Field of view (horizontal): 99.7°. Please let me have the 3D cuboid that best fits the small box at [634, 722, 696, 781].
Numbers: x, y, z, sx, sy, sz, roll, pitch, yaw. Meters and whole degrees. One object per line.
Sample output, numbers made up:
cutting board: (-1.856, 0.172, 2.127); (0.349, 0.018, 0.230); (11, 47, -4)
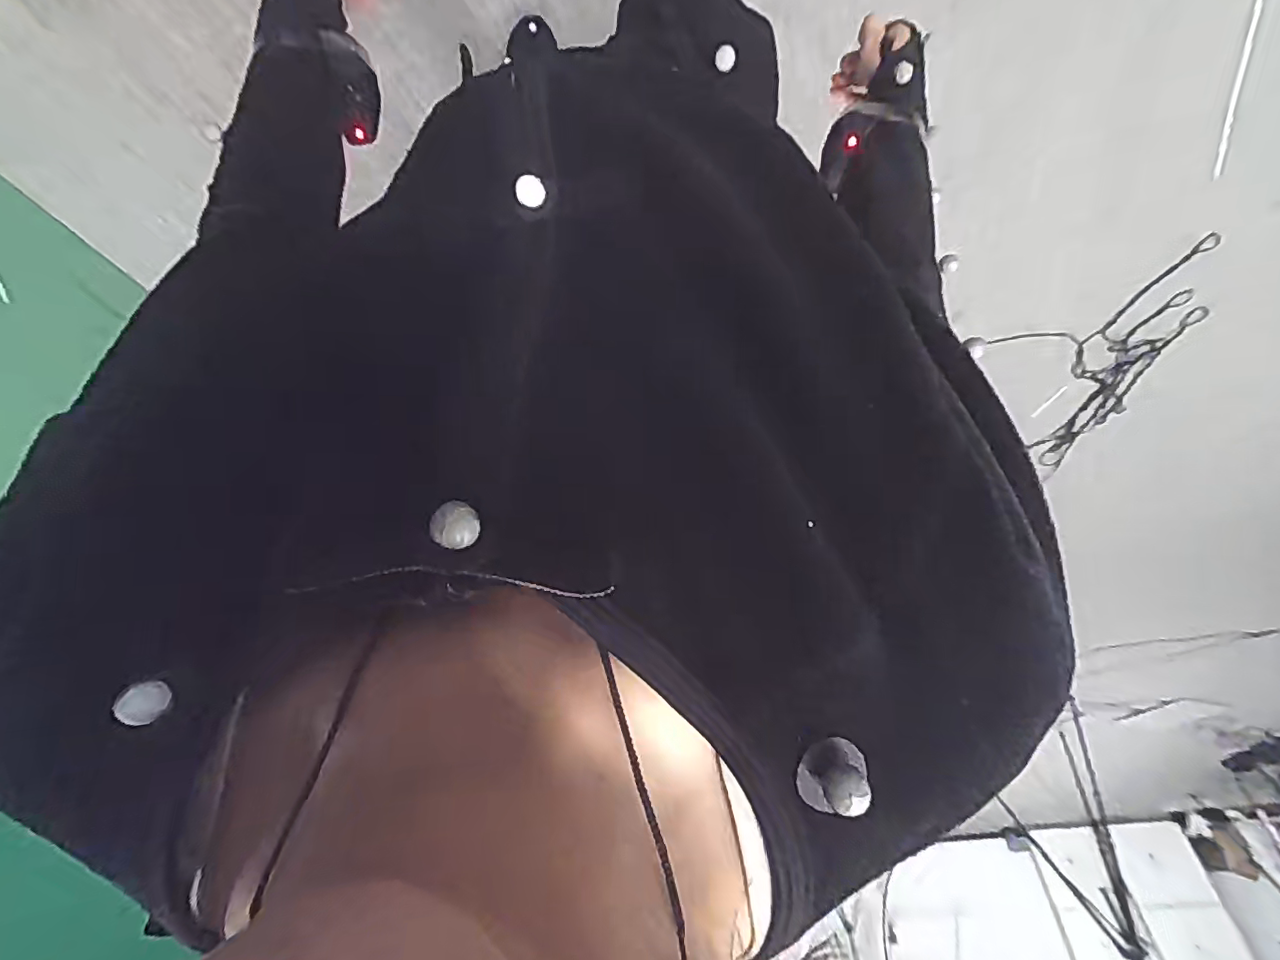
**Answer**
small box: (0.087, 0.981, 1.939); (0.168, 0.176, 0.179); (-21, 135, 21)
